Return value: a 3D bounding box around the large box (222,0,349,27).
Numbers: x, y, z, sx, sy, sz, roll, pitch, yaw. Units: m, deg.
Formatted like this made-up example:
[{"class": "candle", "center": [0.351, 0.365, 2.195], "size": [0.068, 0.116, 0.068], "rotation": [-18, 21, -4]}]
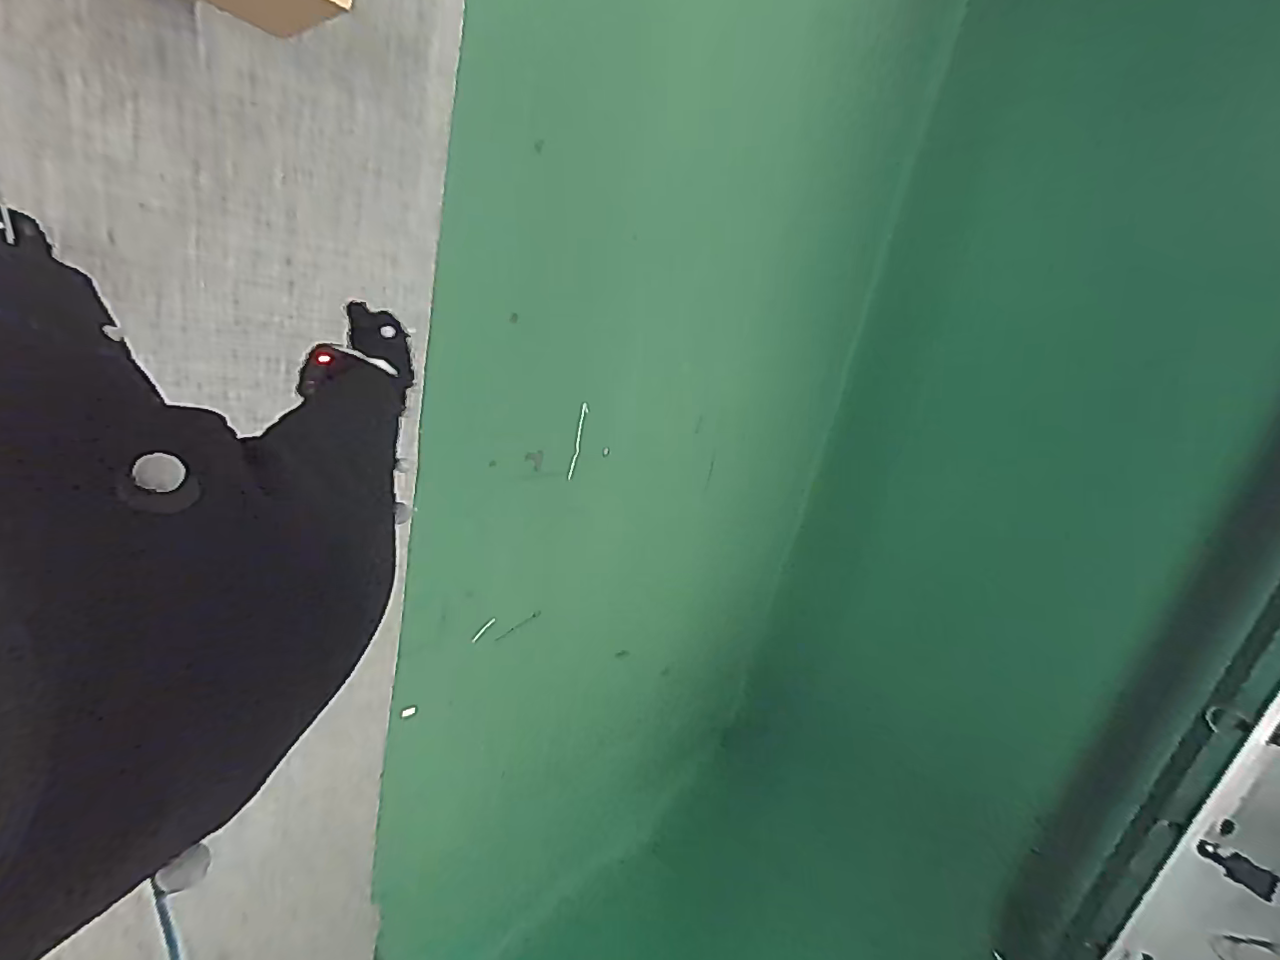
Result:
[{"class": "large box", "center": [-0.640, -0.897, 0.714], "size": [0.408, 0.320, 0.320], "rotation": [-5, 114, -49]}]
